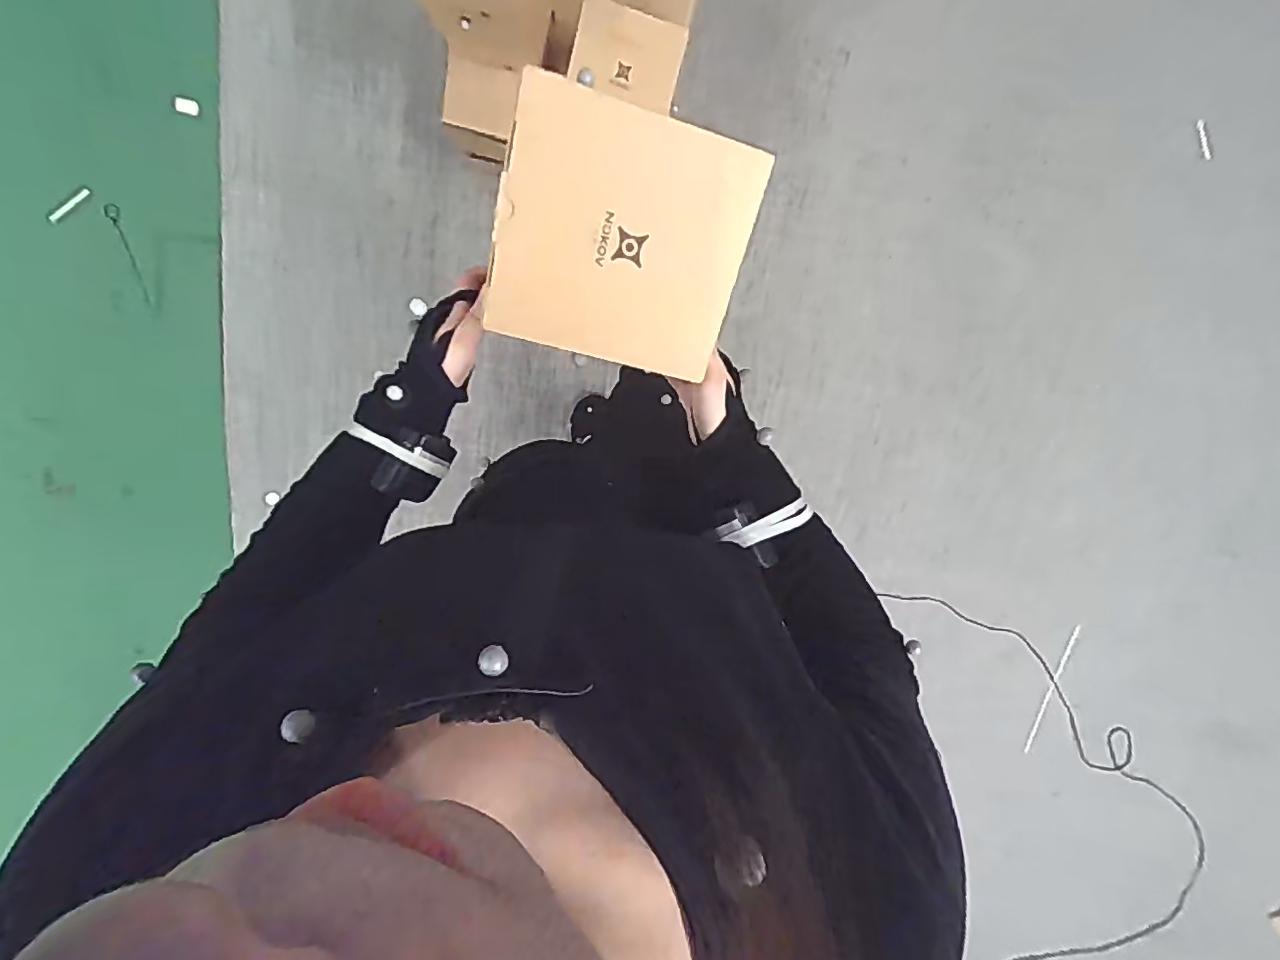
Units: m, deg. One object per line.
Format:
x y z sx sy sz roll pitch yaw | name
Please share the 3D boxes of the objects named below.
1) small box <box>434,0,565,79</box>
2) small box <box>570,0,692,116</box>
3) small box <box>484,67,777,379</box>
-0.218 -0.790 0.860 0.168 0.176 0.179 16 103 -5 | small box
-0.025 -0.641 0.906 0.168 0.176 0.179 16 103 -8 | small box
-0.019 -0.201 0.452 0.179 0.176 0.168 12 113 -12 | small box
